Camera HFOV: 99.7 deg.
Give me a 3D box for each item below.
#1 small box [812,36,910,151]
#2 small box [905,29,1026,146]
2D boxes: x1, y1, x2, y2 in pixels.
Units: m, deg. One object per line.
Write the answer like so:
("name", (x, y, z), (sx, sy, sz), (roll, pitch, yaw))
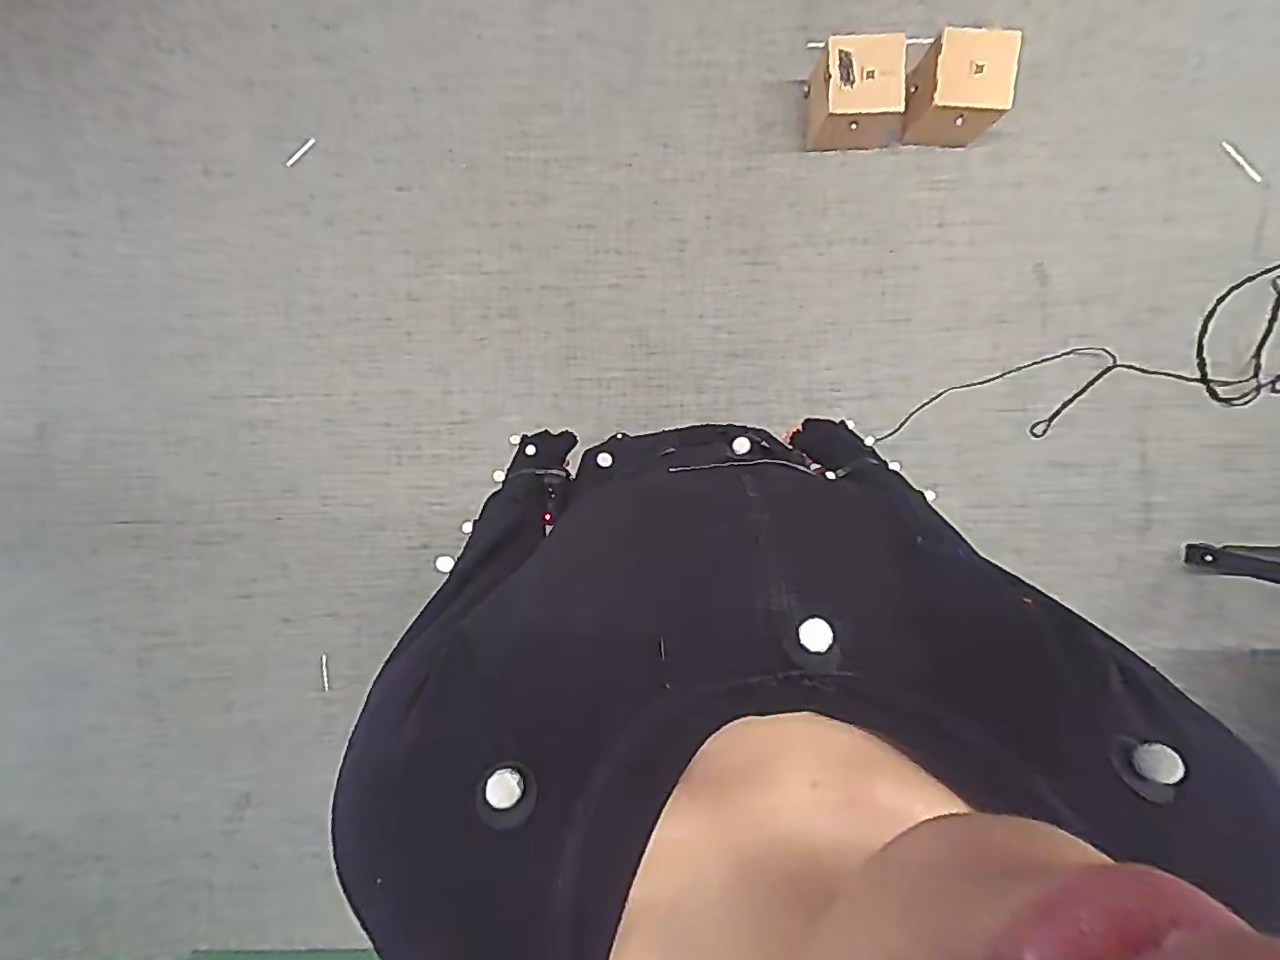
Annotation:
("small box", (0.518, -0.912, 1.290), (0.179, 0.176, 0.168), (-1, 96, 1))
("small box", (0.763, -0.919, 1.282), (0.179, 0.176, 0.168), (4, 96, 2))
